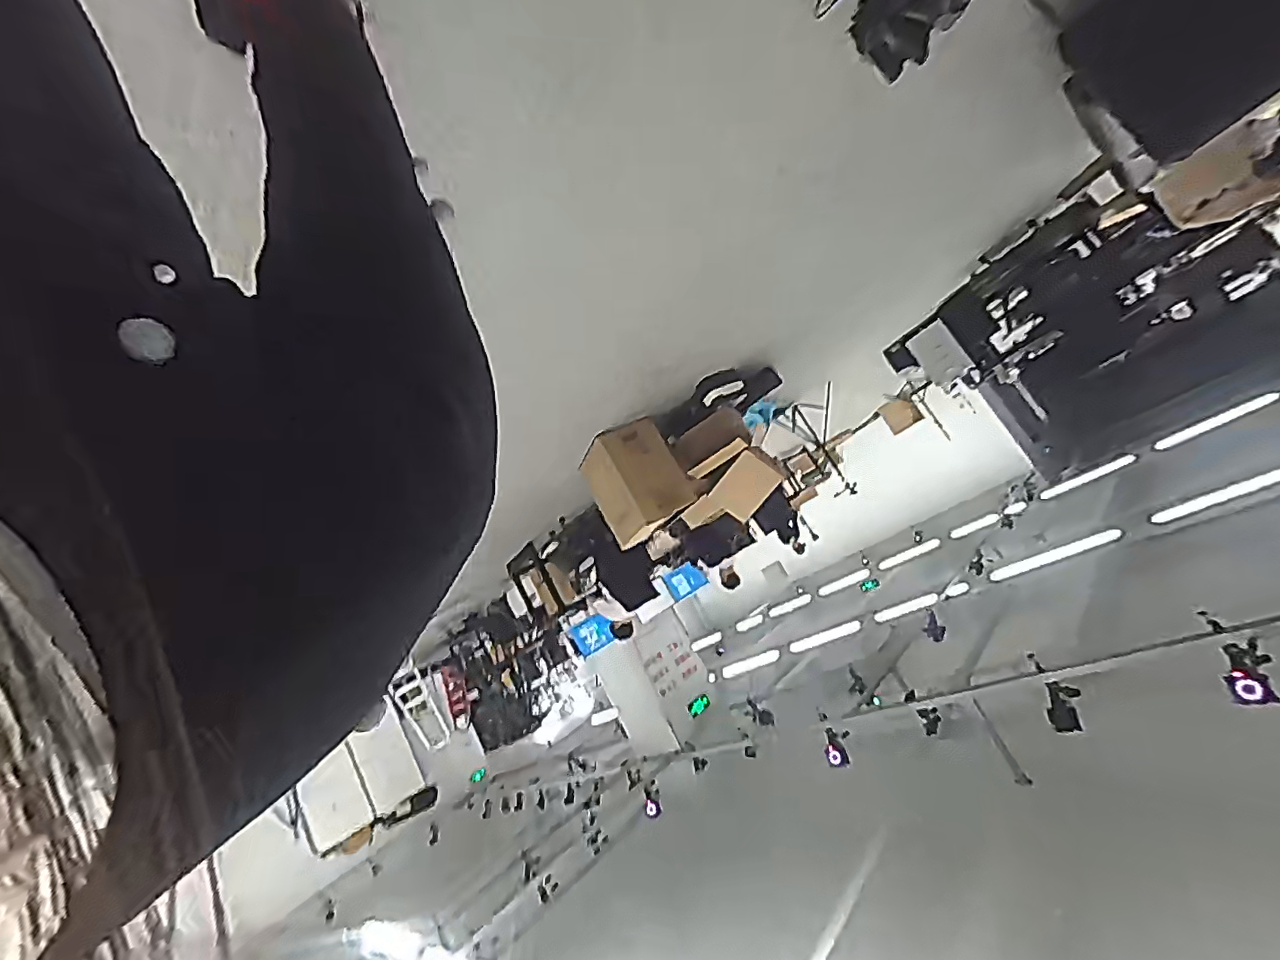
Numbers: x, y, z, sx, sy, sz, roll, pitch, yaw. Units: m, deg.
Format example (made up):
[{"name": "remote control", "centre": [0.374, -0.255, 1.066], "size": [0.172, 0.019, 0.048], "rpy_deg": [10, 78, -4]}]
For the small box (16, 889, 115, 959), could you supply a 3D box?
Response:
[{"name": "small box", "centre": [-1.705, 1.364, 1.607], "size": [0.179, 0.176, 0.168], "rpy_deg": [-17, 163, -47]}]

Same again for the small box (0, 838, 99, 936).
[{"name": "small box", "centre": [-1.793, 1.231, 1.642], "size": [0.179, 0.176, 0.168], "rpy_deg": [-19, 164, -47]}]
